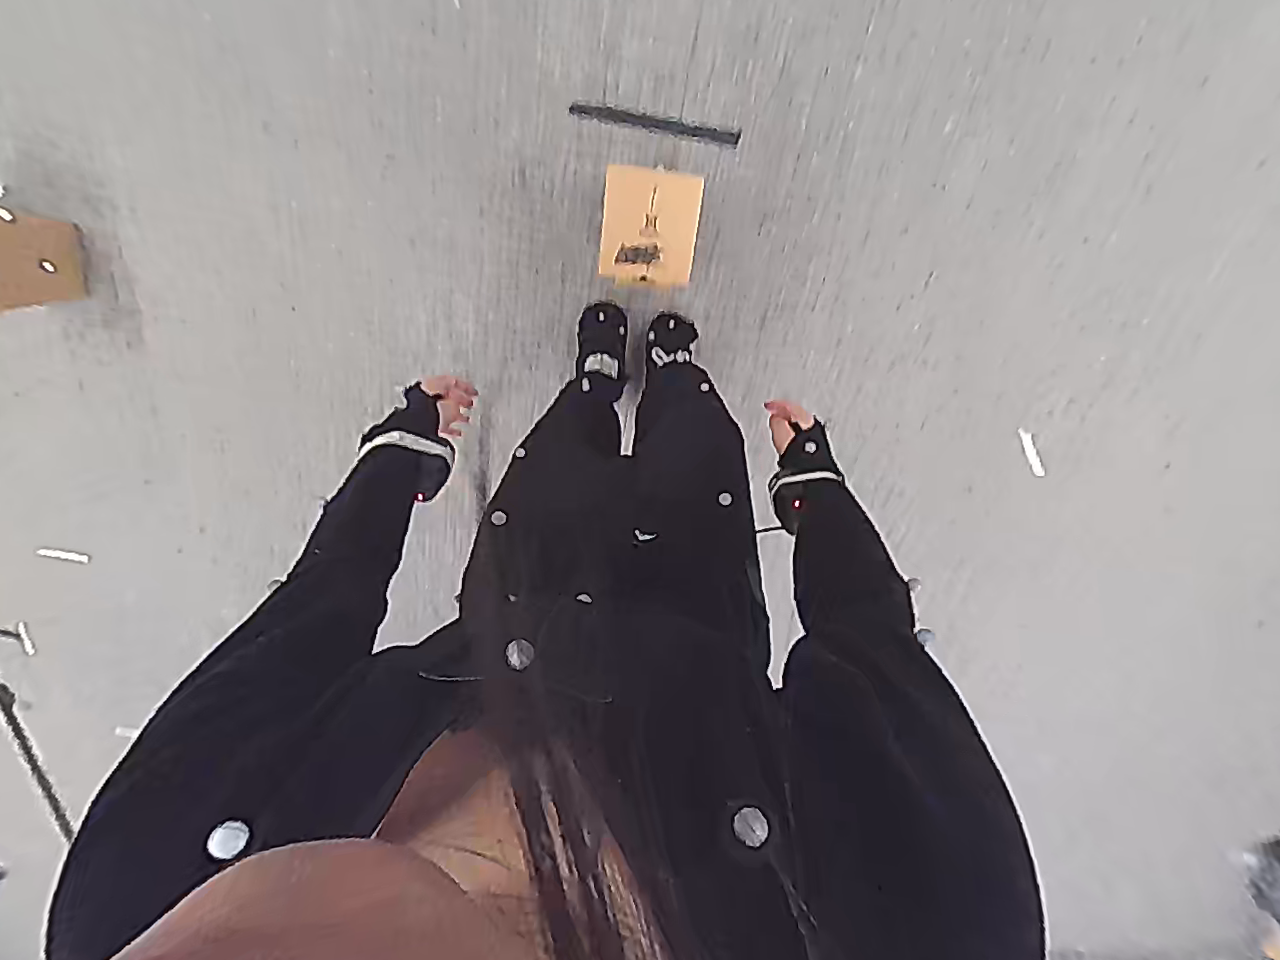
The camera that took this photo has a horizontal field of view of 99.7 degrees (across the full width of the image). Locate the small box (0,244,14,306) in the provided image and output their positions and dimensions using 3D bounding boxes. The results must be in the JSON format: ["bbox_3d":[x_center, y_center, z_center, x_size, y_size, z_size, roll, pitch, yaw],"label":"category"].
[{"bbox_3d":[-1.406,-0.437,1.052,0.168,0.176,0.179,14,117,-5],"label":"small box"}]

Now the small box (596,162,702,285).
[{"bbox_3d":[0.014,-0.473,1.004,0.168,0.176,0.179,7,116,-2],"label":"small box"}]
